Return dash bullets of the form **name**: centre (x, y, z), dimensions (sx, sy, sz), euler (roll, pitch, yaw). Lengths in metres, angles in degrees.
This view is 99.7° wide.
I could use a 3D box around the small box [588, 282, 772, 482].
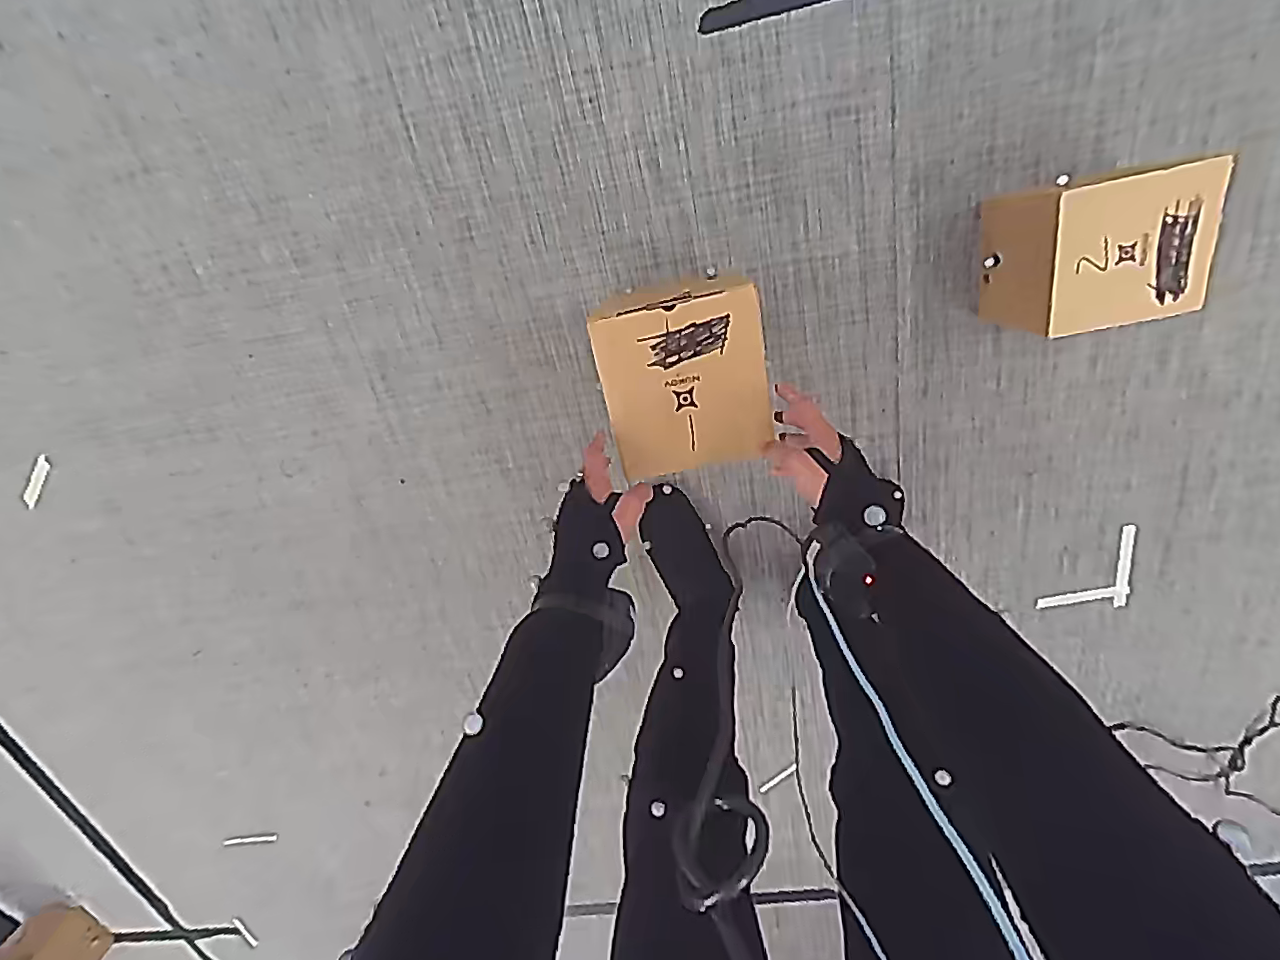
- **small box**: centre (0.047, -0.120, 0.616), dimensions (0.168, 0.176, 0.179), euler (-9, 114, 8)
